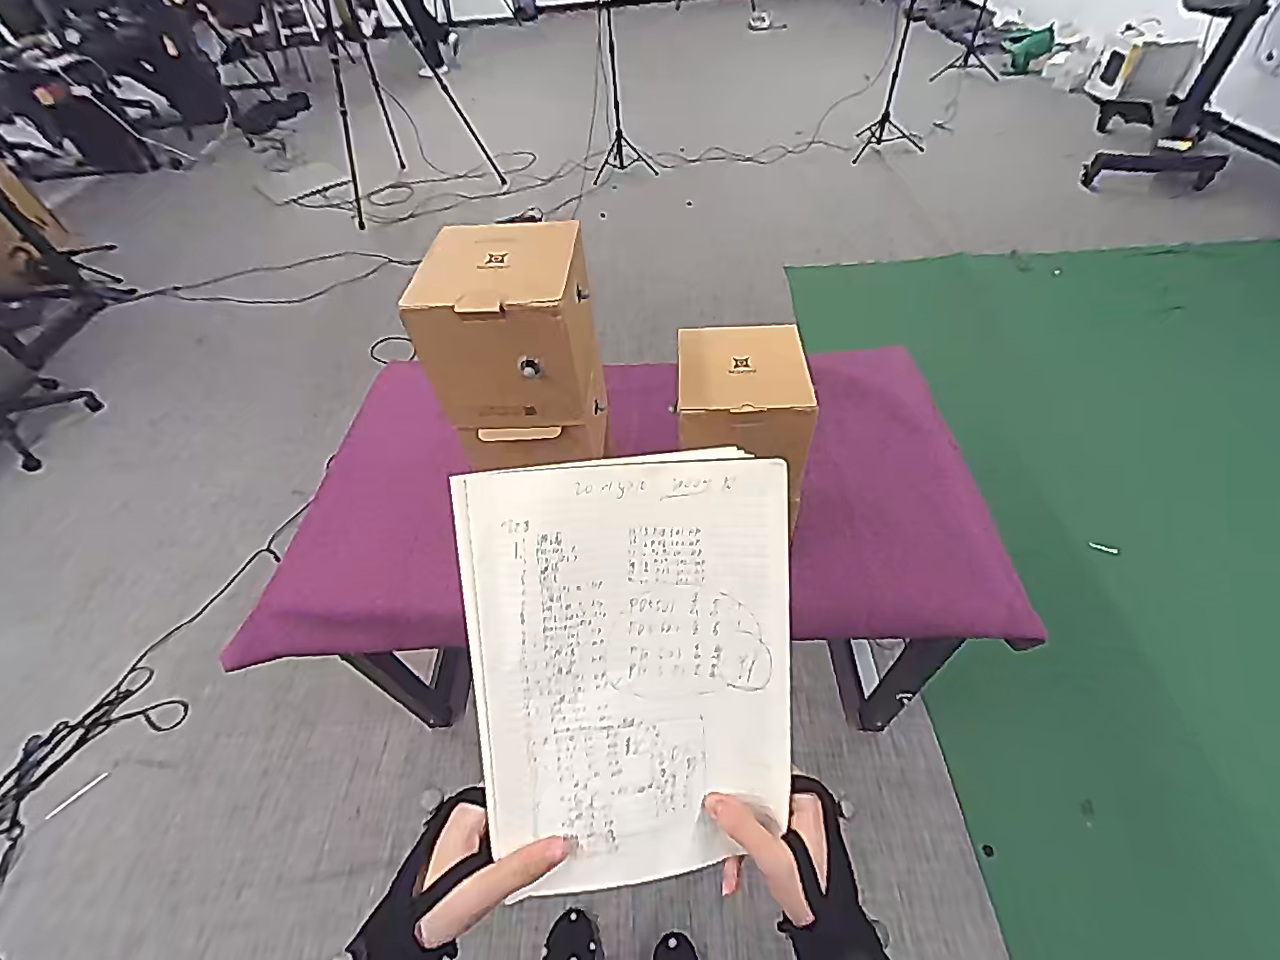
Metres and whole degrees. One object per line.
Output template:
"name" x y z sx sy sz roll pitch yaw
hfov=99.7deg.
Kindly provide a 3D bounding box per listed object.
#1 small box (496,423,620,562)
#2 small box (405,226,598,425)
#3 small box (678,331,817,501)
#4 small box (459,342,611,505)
"small box" -0.124 0.025 0.903 0.168 0.176 0.179 -1 50 4
"small box" -0.145 -0.179 0.646 0.168 0.176 0.179 0 49 4
"small box" 0.138 -0.090 0.761 0.168 0.176 0.179 -1 49 4
"small box" -0.135 -0.077 0.773 0.168 0.176 0.179 -1 49 4
